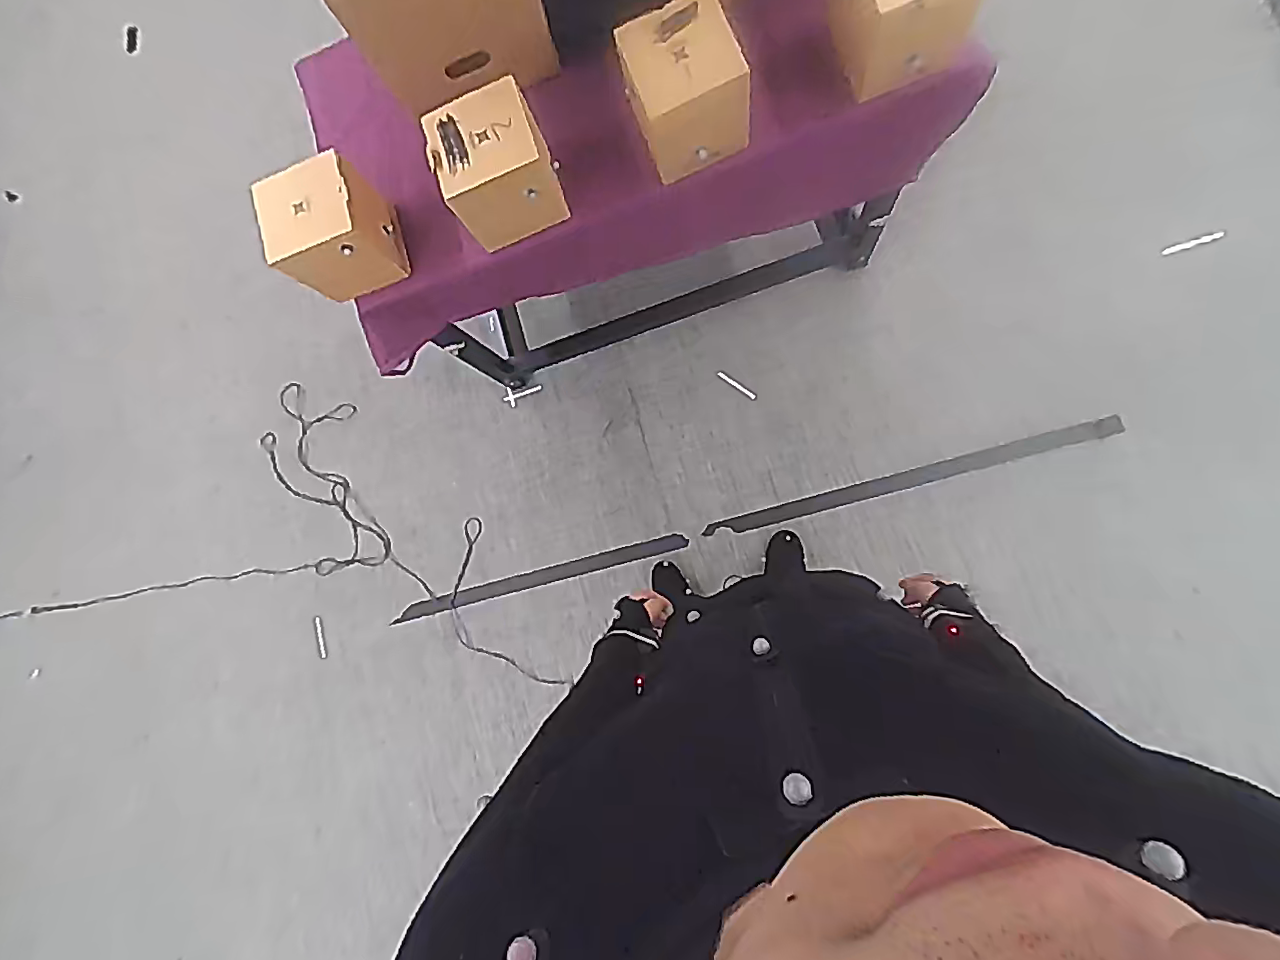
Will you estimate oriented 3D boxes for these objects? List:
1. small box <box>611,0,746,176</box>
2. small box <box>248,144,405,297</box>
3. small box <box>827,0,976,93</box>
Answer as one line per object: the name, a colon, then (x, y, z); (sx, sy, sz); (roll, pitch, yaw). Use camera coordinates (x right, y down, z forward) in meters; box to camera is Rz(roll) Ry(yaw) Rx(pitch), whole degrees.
small box: (0.069, -0.662, 0.908); (0.168, 0.176, 0.179); (-21, 82, 9)
small box: (-0.579, -0.472, 1.014); (0.179, 0.176, 0.168); (-18, 82, 7)
small box: (0.407, -0.771, 0.852); (0.168, 0.176, 0.179); (-17, 82, 10)
